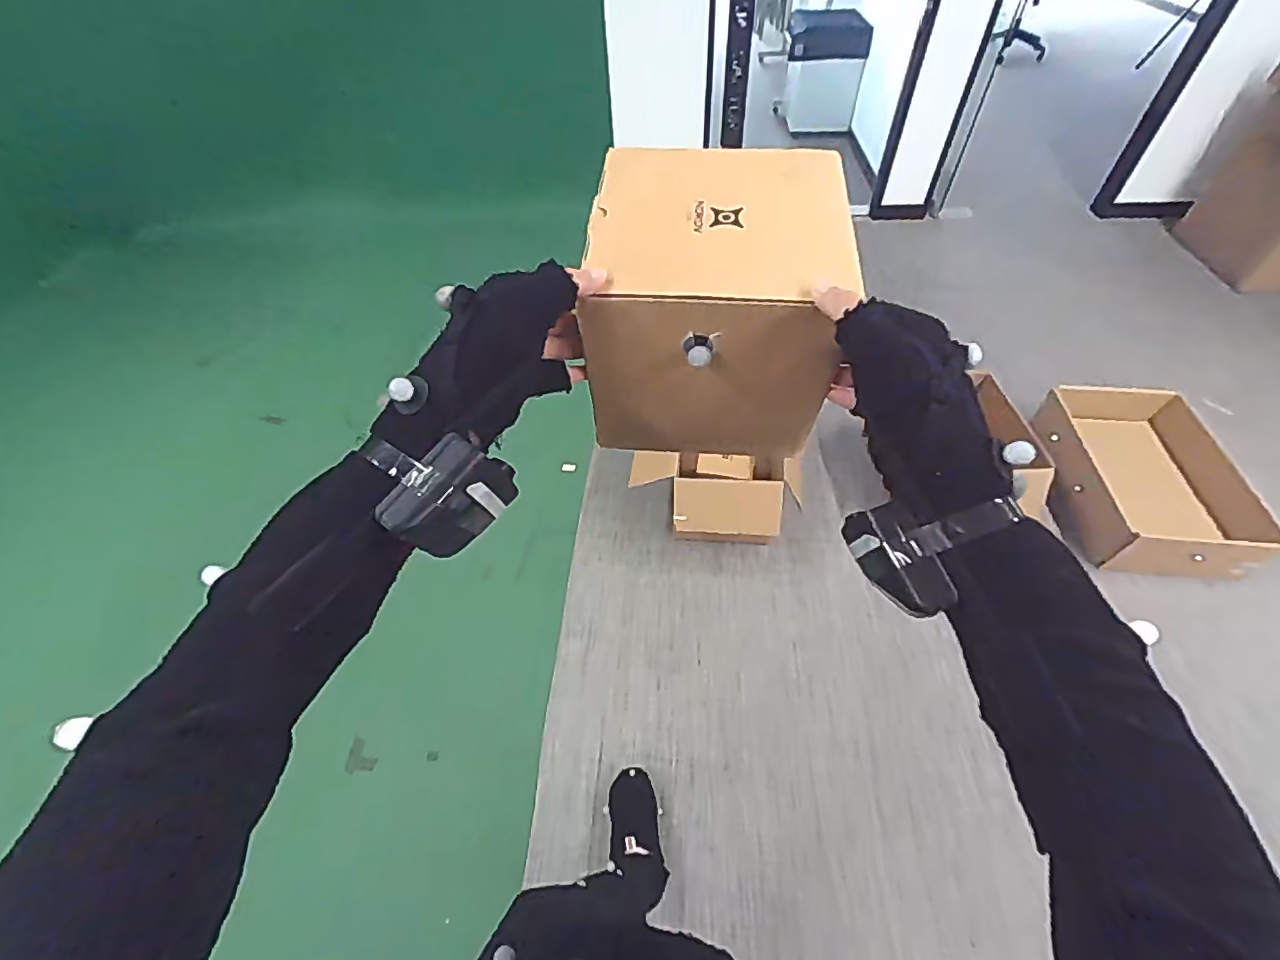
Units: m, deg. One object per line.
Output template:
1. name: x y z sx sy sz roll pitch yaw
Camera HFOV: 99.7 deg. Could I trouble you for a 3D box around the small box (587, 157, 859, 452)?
1. small box: 0.060 -0.137 0.452 0.179 0.176 0.168 3 58 4
